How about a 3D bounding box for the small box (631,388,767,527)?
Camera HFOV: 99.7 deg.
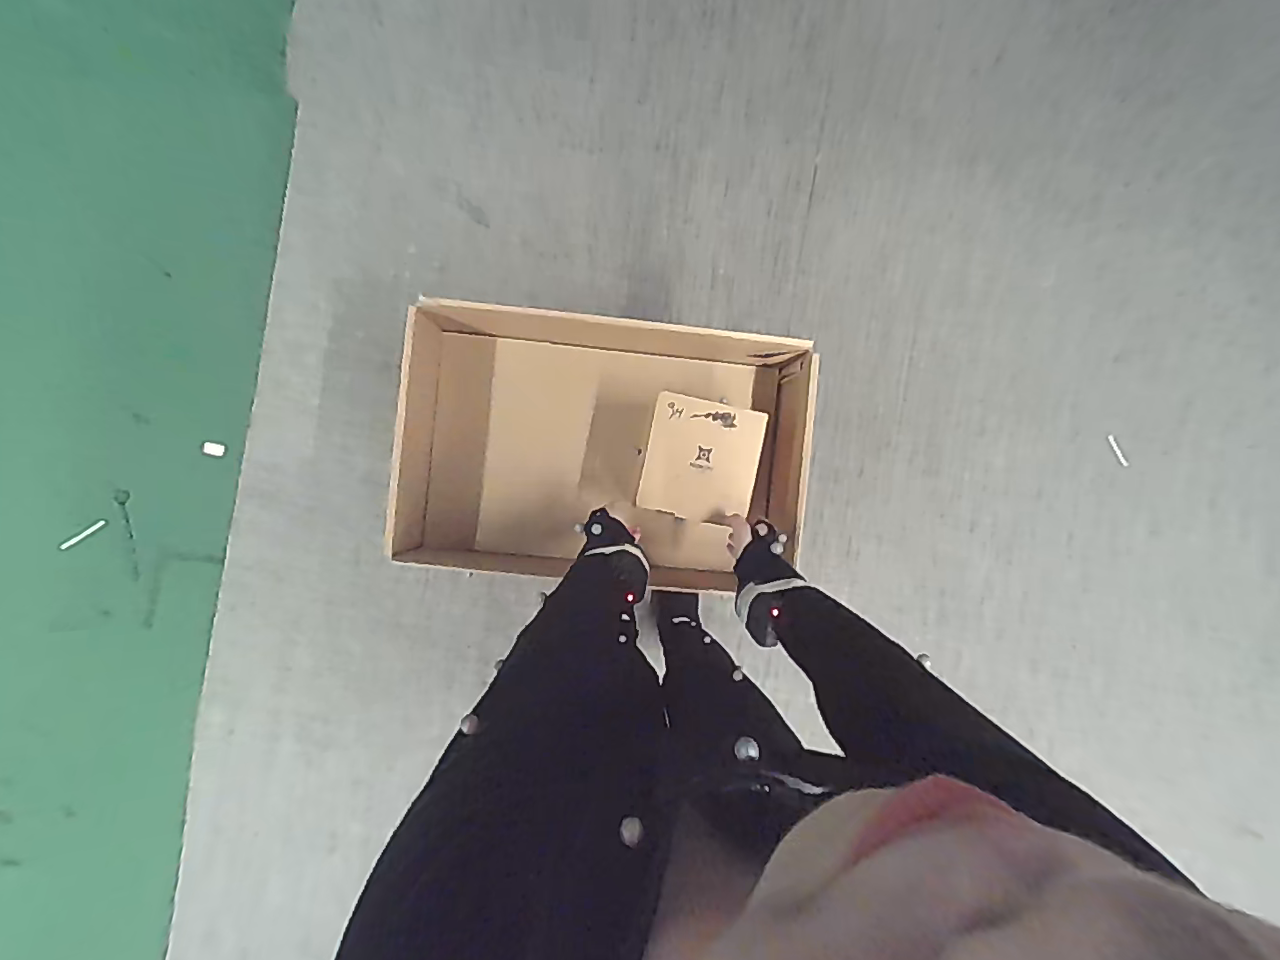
[{"bbox_3d":[0.083,-0.034,0.862,0.168,0.176,0.179,12,90,-5],"label":"small box"}]
